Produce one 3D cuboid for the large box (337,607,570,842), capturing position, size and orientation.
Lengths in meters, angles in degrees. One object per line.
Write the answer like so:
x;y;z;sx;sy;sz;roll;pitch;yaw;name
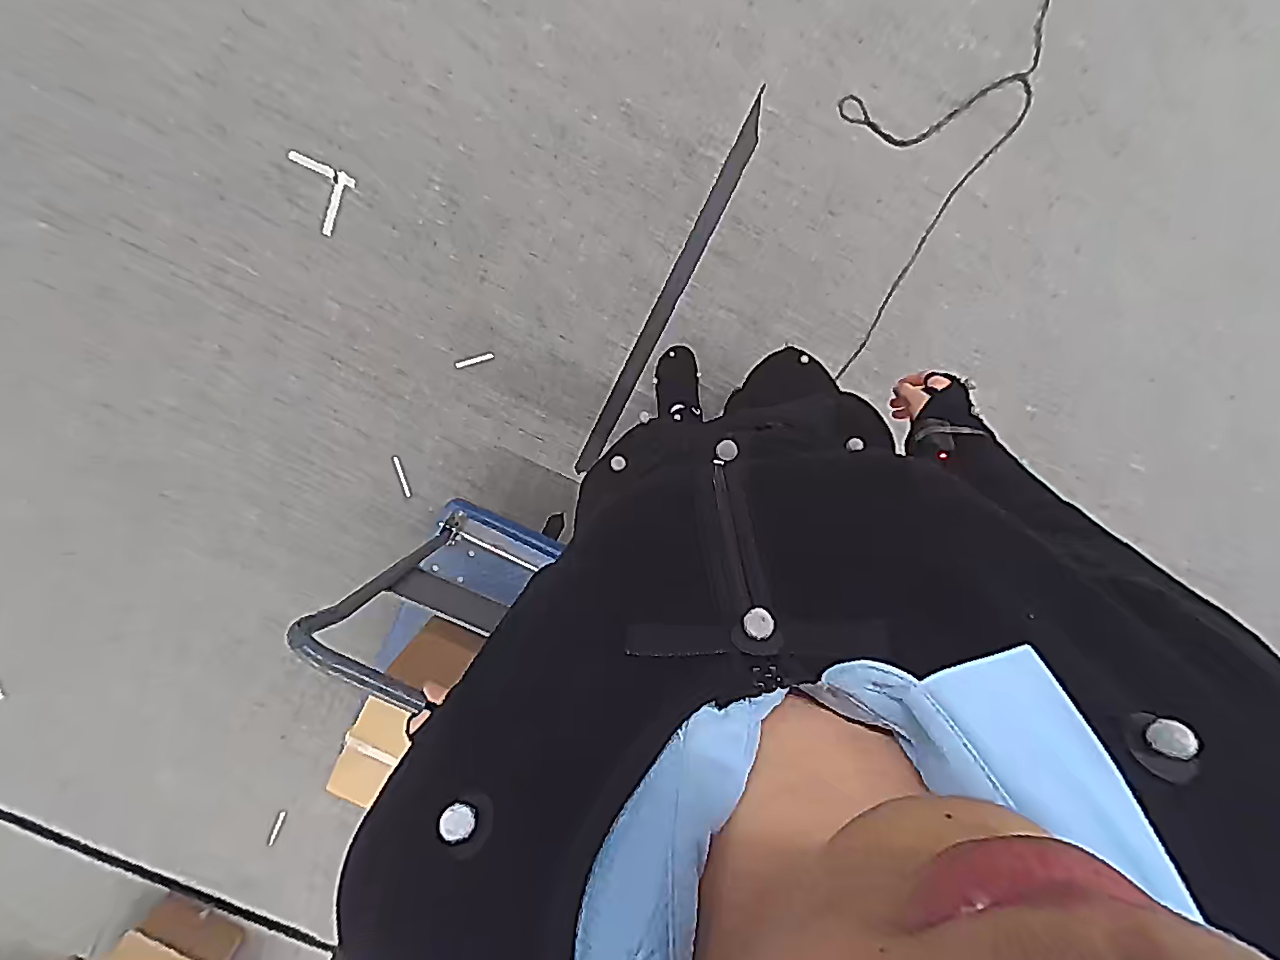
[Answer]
-0.432;0.579;1.335;0.408;0.320;0.320;27;103;-5;large box
